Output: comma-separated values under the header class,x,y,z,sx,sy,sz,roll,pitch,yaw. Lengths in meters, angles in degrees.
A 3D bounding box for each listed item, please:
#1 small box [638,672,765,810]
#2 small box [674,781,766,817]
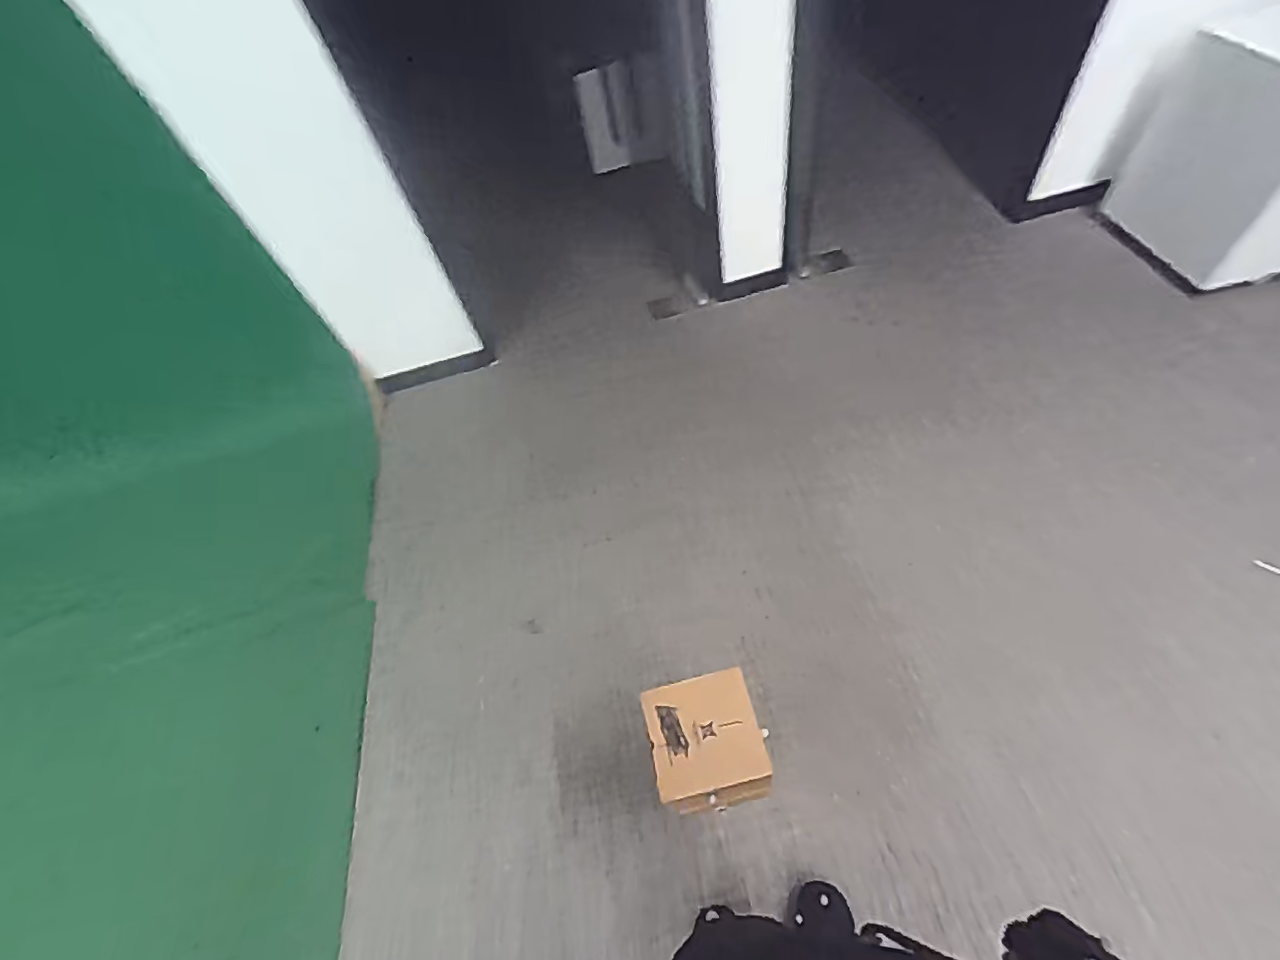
class,x,y,z,sx,sy,sz,roll,pitch,yaw
small box,0.109,0.453,0.930,0.179,0.176,0.168,-16,54,2
small box,0.137,0.535,1.049,0.168,0.176,0.179,-17,55,2
